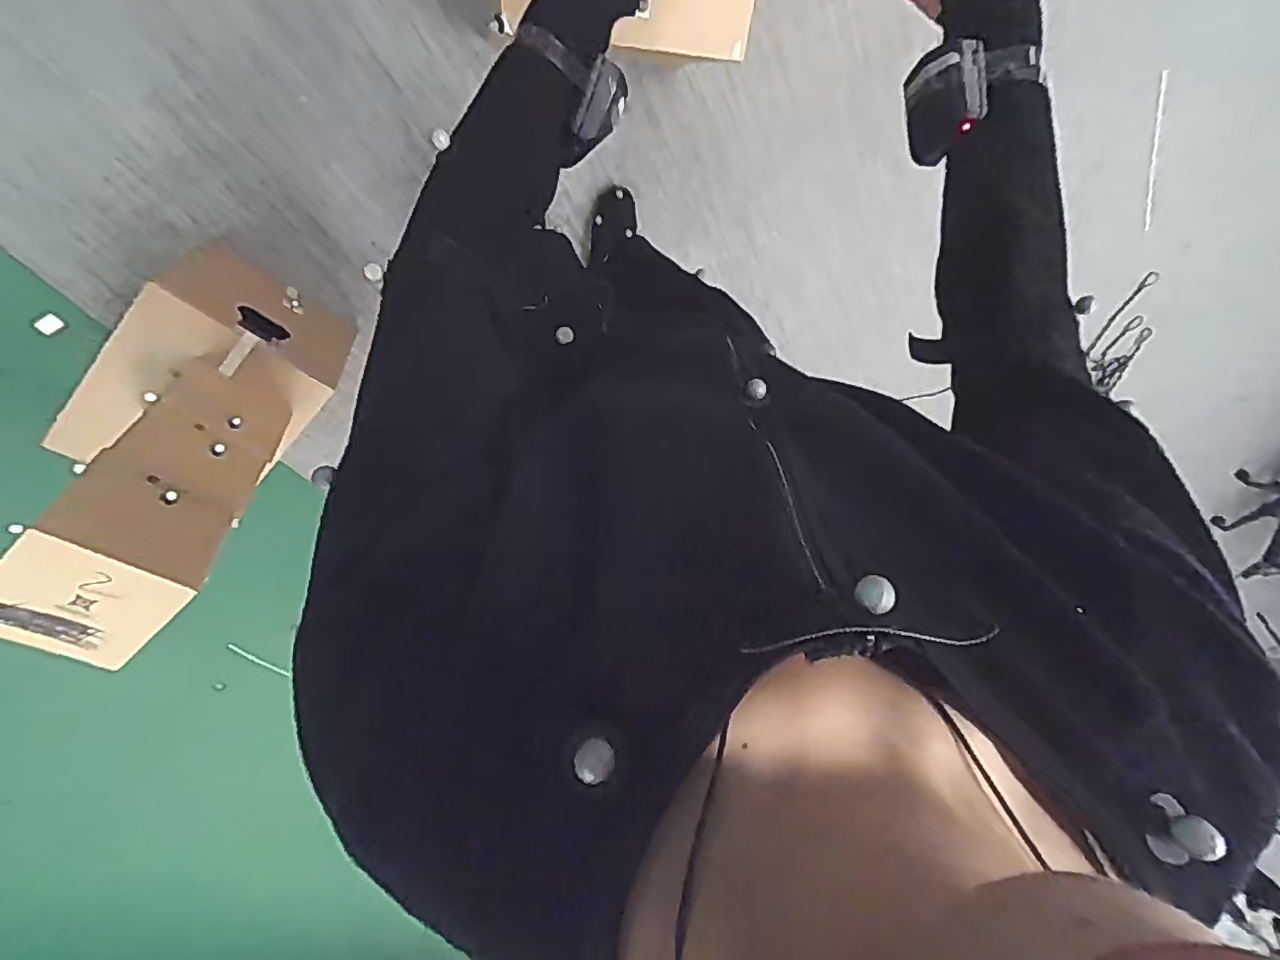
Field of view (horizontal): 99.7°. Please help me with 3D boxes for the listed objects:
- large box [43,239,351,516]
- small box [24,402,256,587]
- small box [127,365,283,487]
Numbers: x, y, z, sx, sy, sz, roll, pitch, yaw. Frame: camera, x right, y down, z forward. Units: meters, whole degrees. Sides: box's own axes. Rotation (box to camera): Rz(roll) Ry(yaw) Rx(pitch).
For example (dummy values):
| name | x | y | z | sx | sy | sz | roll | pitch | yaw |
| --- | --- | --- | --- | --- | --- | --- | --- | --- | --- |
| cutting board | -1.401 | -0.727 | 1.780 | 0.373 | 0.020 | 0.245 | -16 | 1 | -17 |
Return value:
| name | x | y | z | sx | sy | sz | roll | pitch | yaw |
| --- | --- | --- | --- | --- | --- | --- | --- | --- | --- |
| large box | -0.868 | -0.205 | 1.115 | 0.408 | 0.320 | 0.320 | -42 | 126 | 15 |
| small box | -0.720 | 0.019 | 0.805 | 0.179 | 0.176 | 0.168 | -38 | 128 | 9 |
| small box | -0.763 | -0.067 | 0.936 | 0.168 | 0.176 | 0.179 | -39 | 128 | 10 |
